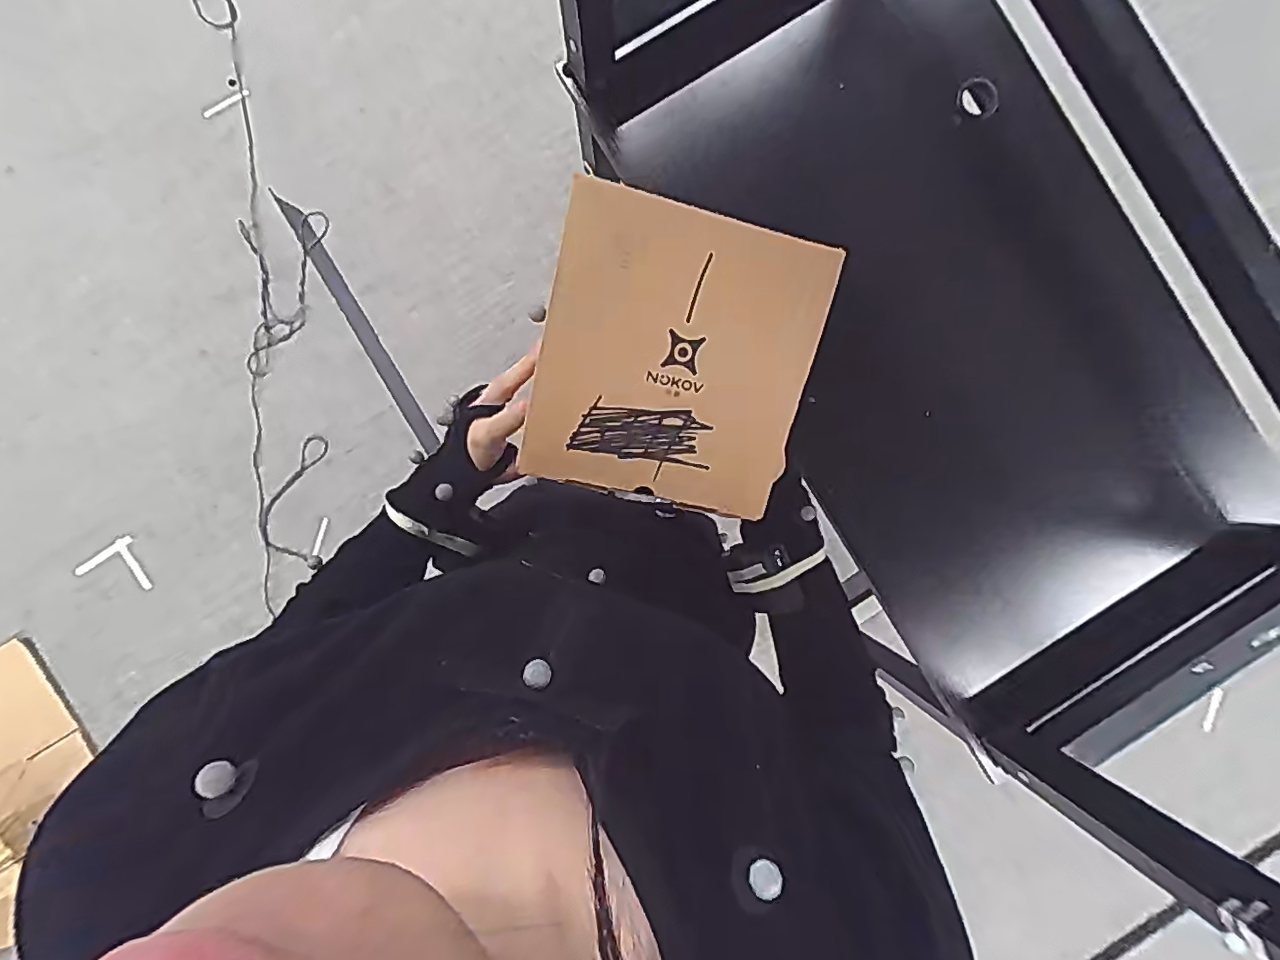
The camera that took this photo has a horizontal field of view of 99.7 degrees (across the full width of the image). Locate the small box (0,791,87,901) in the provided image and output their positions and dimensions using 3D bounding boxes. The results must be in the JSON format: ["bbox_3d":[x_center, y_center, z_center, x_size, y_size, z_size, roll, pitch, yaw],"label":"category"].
[{"bbox_3d":[-1.564,0.931,1.358,0.179,0.176,0.168,-34,90,-1],"label":"small box"}]
